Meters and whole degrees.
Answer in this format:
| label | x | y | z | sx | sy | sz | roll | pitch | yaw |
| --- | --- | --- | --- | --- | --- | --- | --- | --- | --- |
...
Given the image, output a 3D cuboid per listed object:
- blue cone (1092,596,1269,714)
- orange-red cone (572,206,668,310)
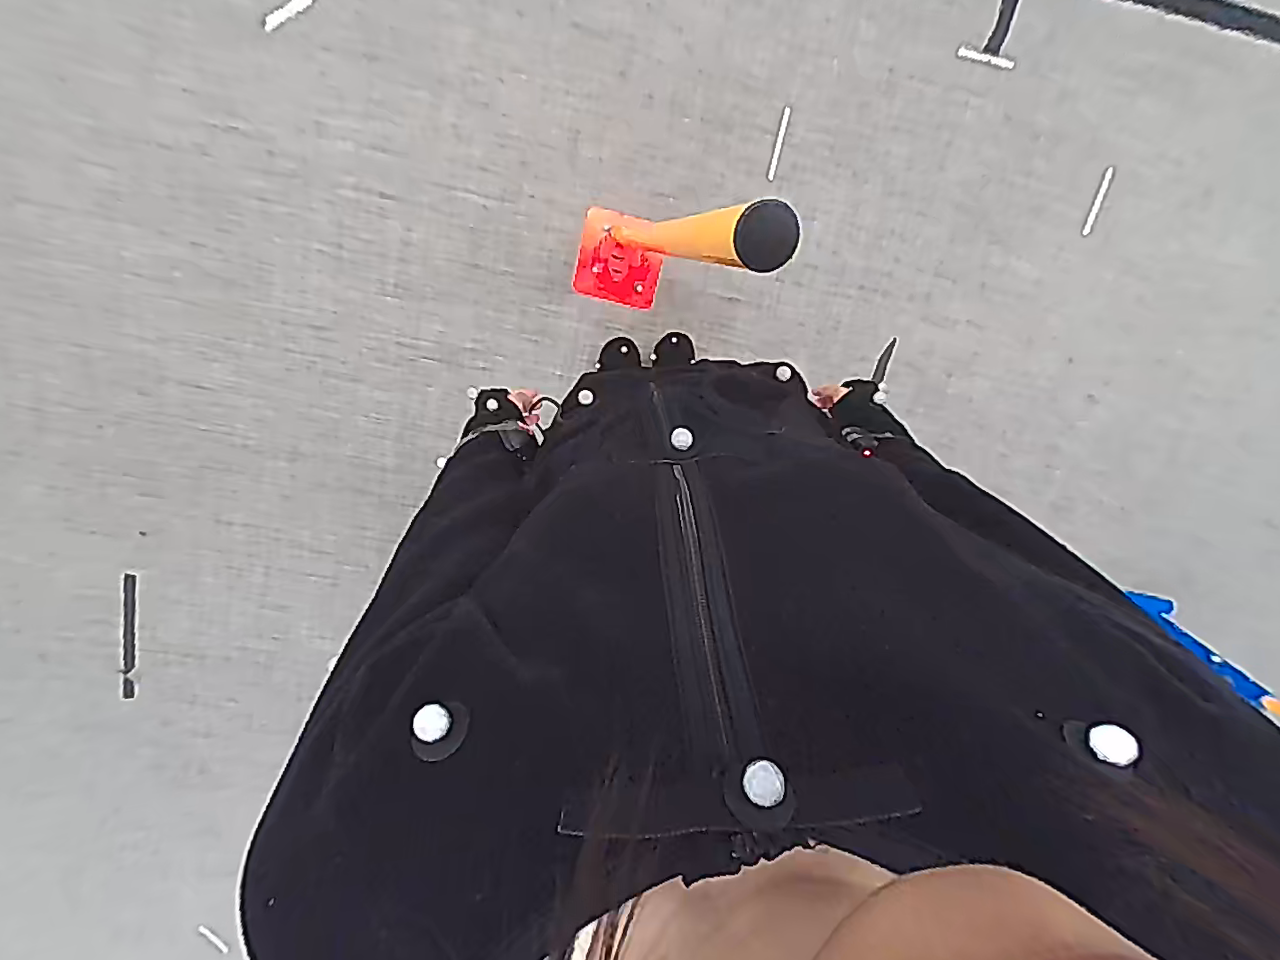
| label | x | y | z | sx | sy | sz | roll | pitch | yaw |
| --- | --- | --- | --- | --- | --- | --- | --- | --- | --- |
| blue cone | 1.492 | 0.489 | 1.477 | 0.193 | 0.380 | 0.192 | 14 | 105 | -6 |
| orange-red cone | -0.039 | -0.478 | 1.115 | 0.198 | 0.360 | 0.199 | 14 | 104 | -7 |
